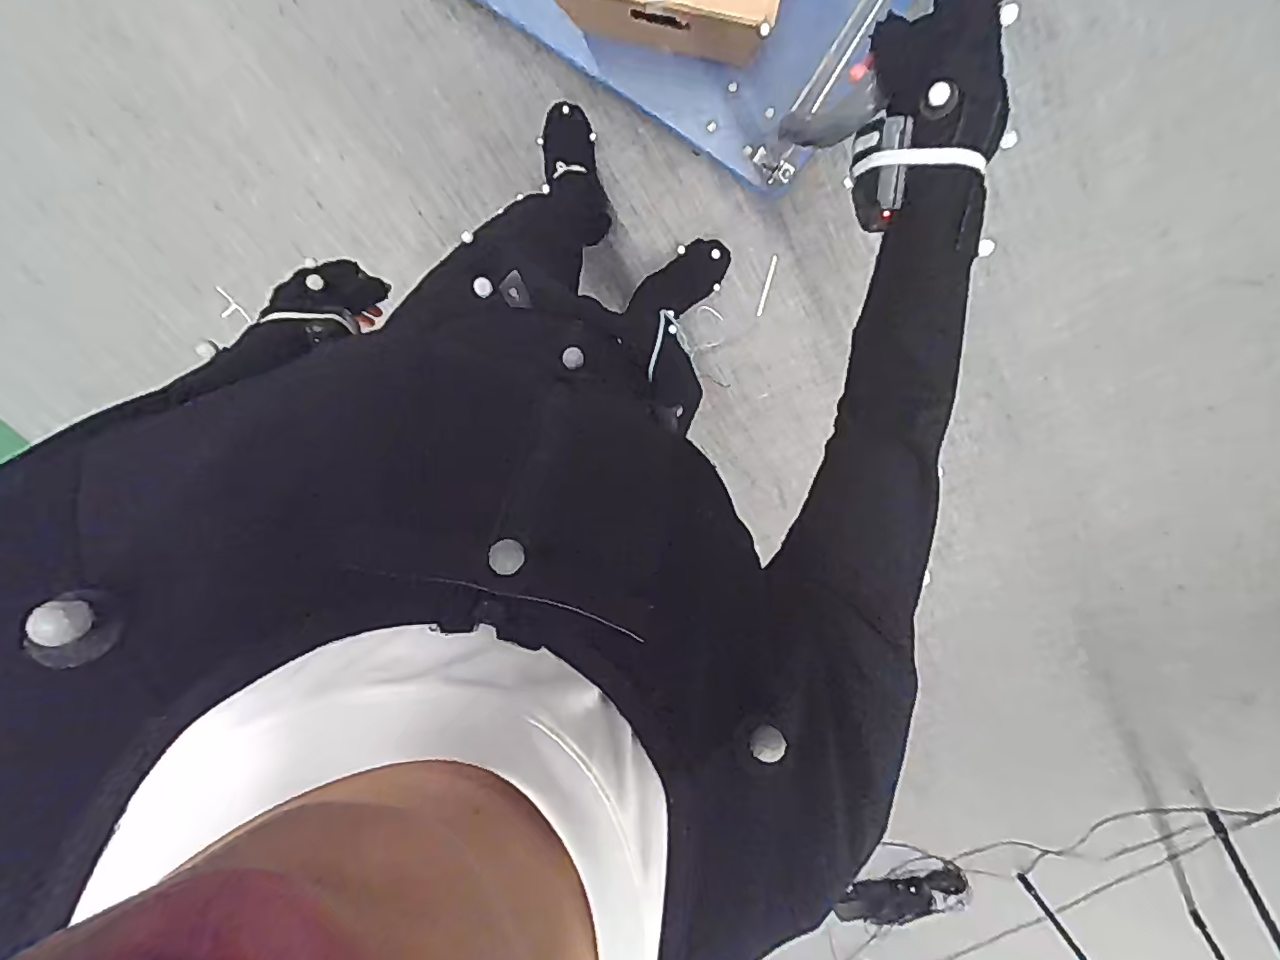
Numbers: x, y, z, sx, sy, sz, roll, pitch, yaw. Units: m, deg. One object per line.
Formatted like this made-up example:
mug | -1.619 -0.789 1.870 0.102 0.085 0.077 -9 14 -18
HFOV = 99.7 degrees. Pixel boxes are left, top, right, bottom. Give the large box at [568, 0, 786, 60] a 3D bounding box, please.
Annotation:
large box | 0.073 -0.858 0.721 0.320 0.320 0.408 12 121 0
